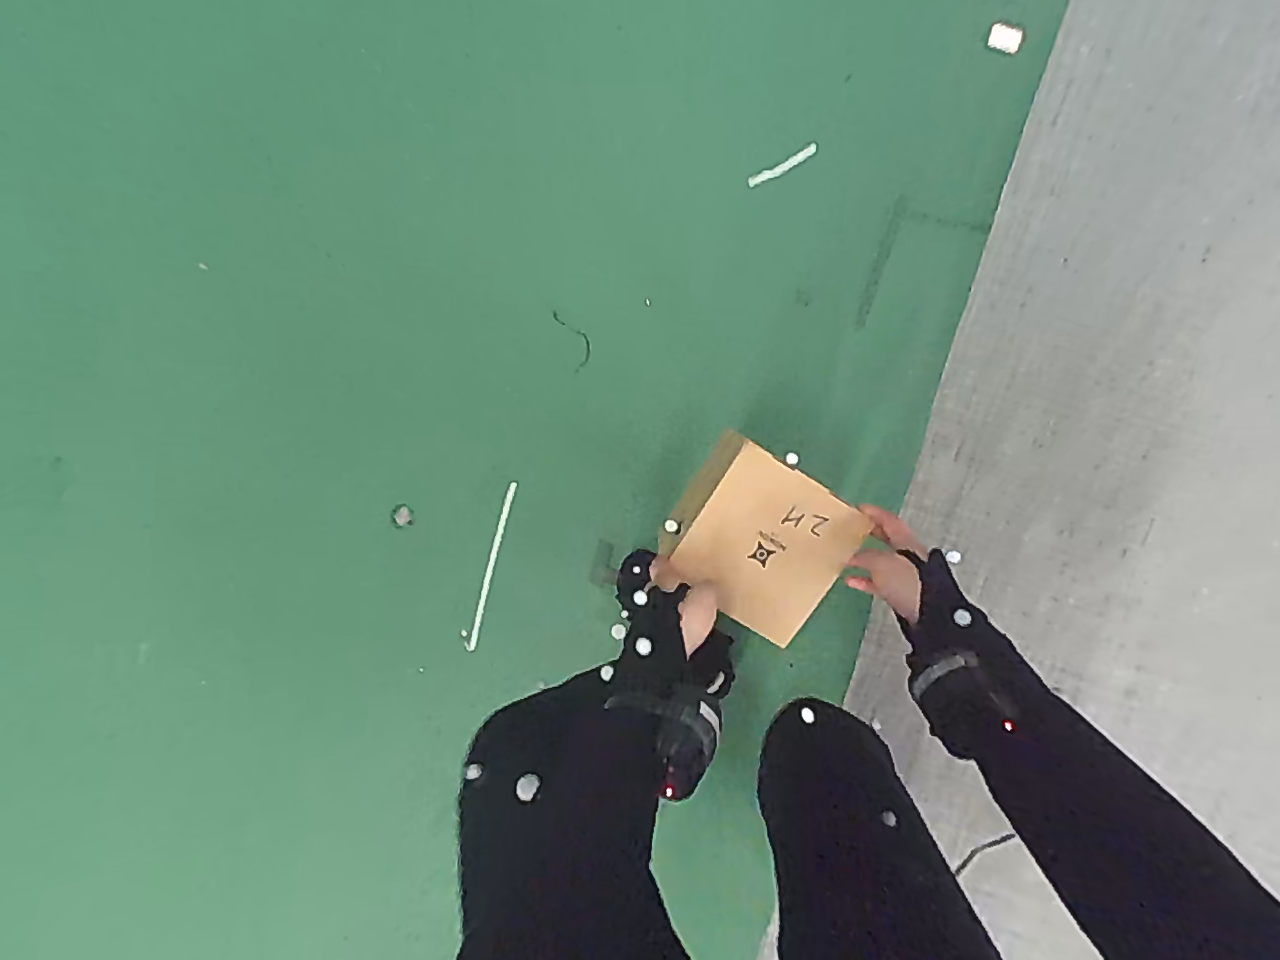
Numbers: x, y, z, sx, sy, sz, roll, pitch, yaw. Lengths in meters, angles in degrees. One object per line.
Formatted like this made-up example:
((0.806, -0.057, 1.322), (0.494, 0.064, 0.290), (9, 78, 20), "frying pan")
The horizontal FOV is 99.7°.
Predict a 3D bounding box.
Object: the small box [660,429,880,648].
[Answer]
((0.138, 0.056, 0.642), (0.168, 0.176, 0.179), (32, 98, -5), "small box")
